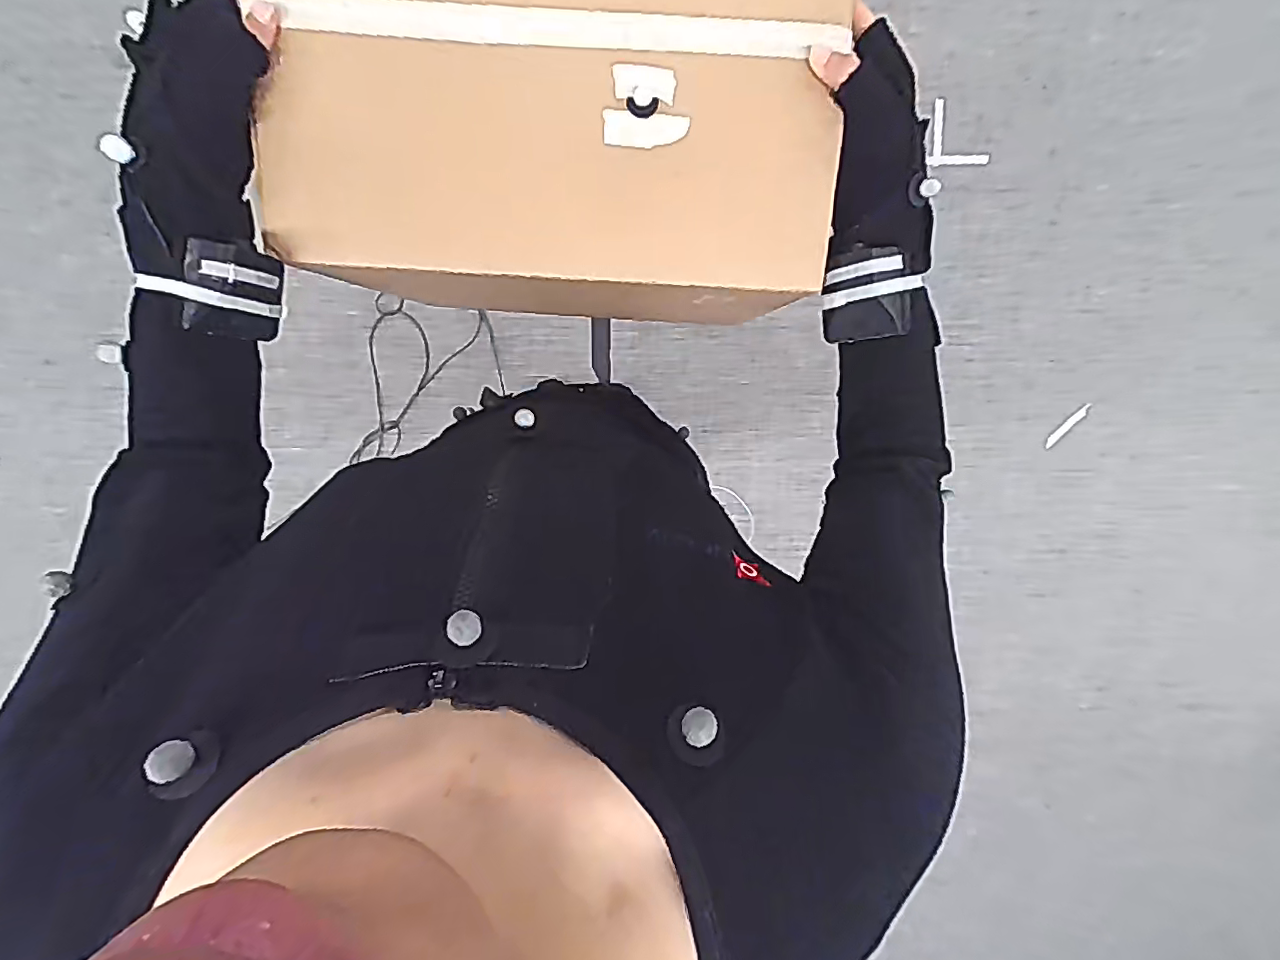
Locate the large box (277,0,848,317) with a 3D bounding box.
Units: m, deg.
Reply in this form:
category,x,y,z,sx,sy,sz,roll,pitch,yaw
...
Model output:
category,x,y,z,sx,sy,sz,roll,pitch,yaw
large box,-0.057,-0.338,0.525,0.408,0.320,0.320,3,102,-1
